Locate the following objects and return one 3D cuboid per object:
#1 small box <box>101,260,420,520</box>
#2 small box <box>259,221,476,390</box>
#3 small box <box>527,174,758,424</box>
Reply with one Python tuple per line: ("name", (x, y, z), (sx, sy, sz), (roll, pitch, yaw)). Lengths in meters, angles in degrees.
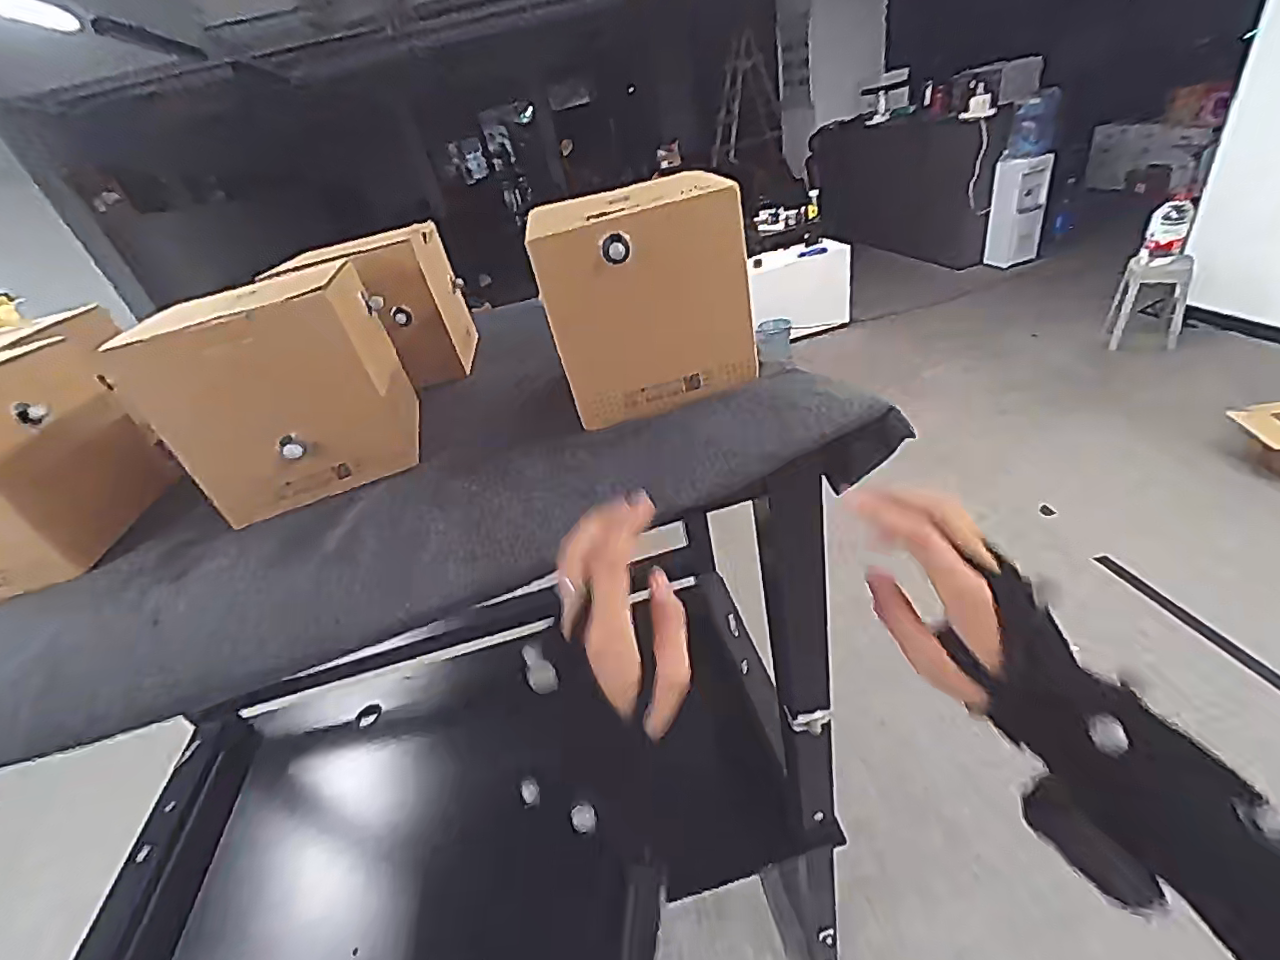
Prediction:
("small box", (-0.323, -0.091, 0.512), (0.168, 0.176, 0.179), (-21, 35, -10))
("small box", (-0.326, -0.214, 0.695), (0.179, 0.176, 0.168), (-15, 33, -2))
("small box", (0.003, -0.174, 0.510), (0.168, 0.176, 0.179), (-15, 33, 0))
